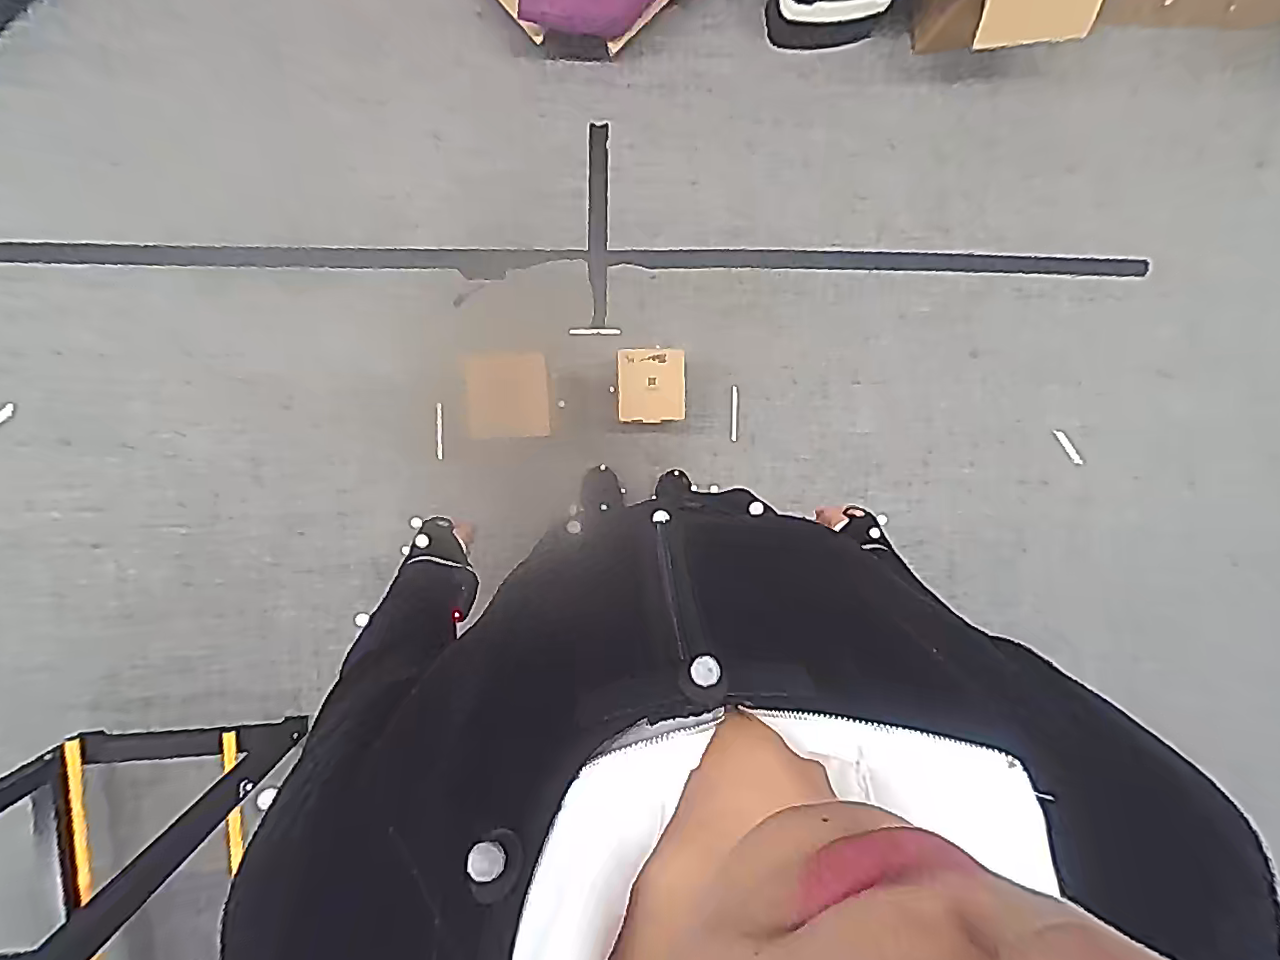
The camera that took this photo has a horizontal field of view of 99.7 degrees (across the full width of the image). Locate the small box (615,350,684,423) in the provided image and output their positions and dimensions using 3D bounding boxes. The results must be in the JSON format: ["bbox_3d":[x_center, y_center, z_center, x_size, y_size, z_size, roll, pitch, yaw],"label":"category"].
[{"bbox_3d":[0.021,-0.237,1.402,0.168,0.176,0.179,-1,95,-5],"label":"small box"}]

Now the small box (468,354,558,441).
[{"bbox_3d":[-0.279,-0.181,1.216,0.168,0.176,0.179,-5,97,-3],"label":"small box"}]
